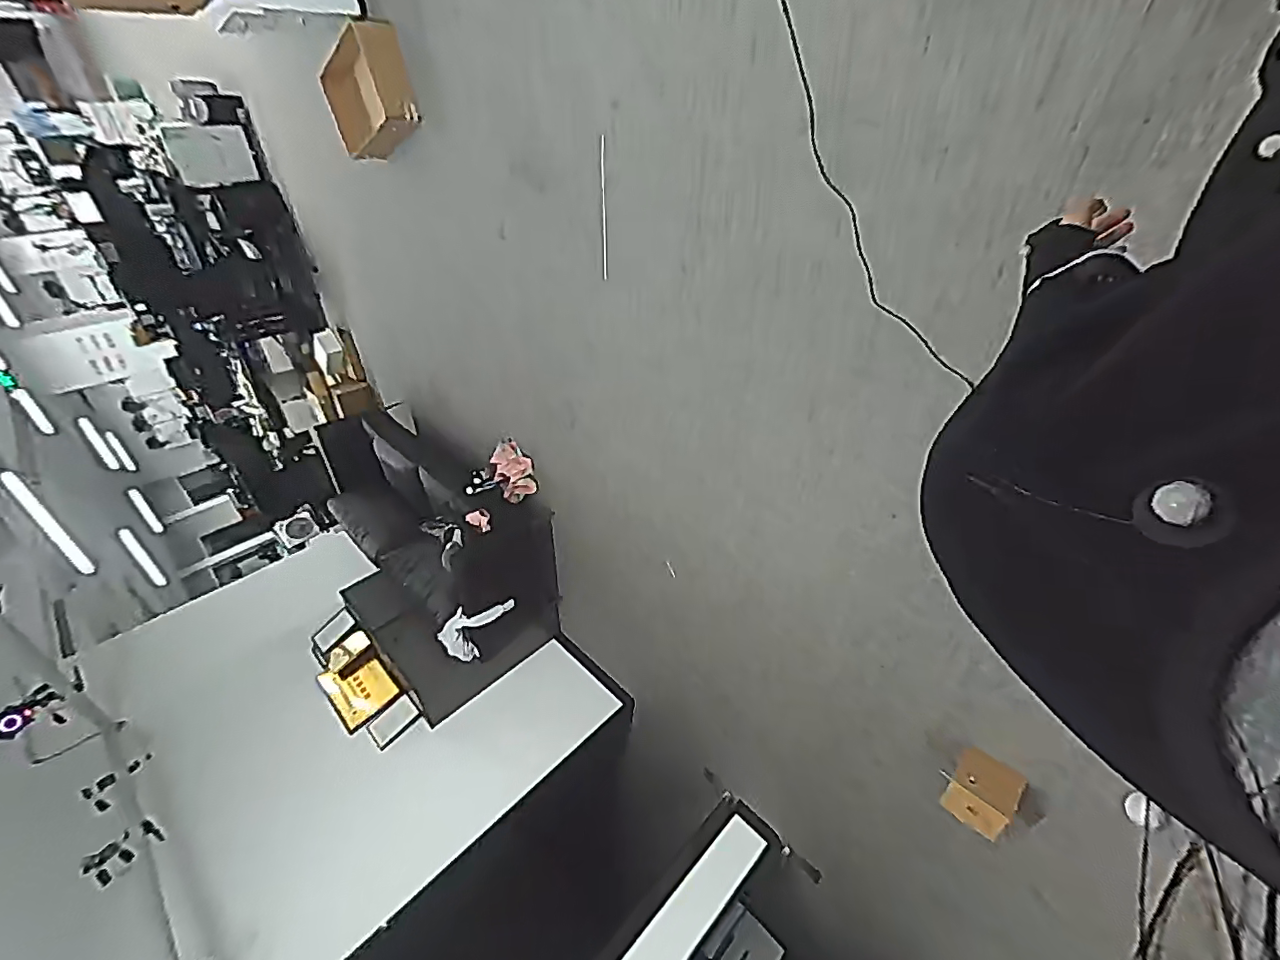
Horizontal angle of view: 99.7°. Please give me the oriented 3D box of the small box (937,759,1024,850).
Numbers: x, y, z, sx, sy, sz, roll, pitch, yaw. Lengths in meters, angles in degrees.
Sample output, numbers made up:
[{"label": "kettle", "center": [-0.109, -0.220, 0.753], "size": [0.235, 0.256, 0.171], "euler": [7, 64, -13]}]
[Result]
[{"label": "small box", "center": [1.133, 1.067, 1.799], "size": [0.179, 0.176, 0.168], "euler": [28, 133, 36]}]
